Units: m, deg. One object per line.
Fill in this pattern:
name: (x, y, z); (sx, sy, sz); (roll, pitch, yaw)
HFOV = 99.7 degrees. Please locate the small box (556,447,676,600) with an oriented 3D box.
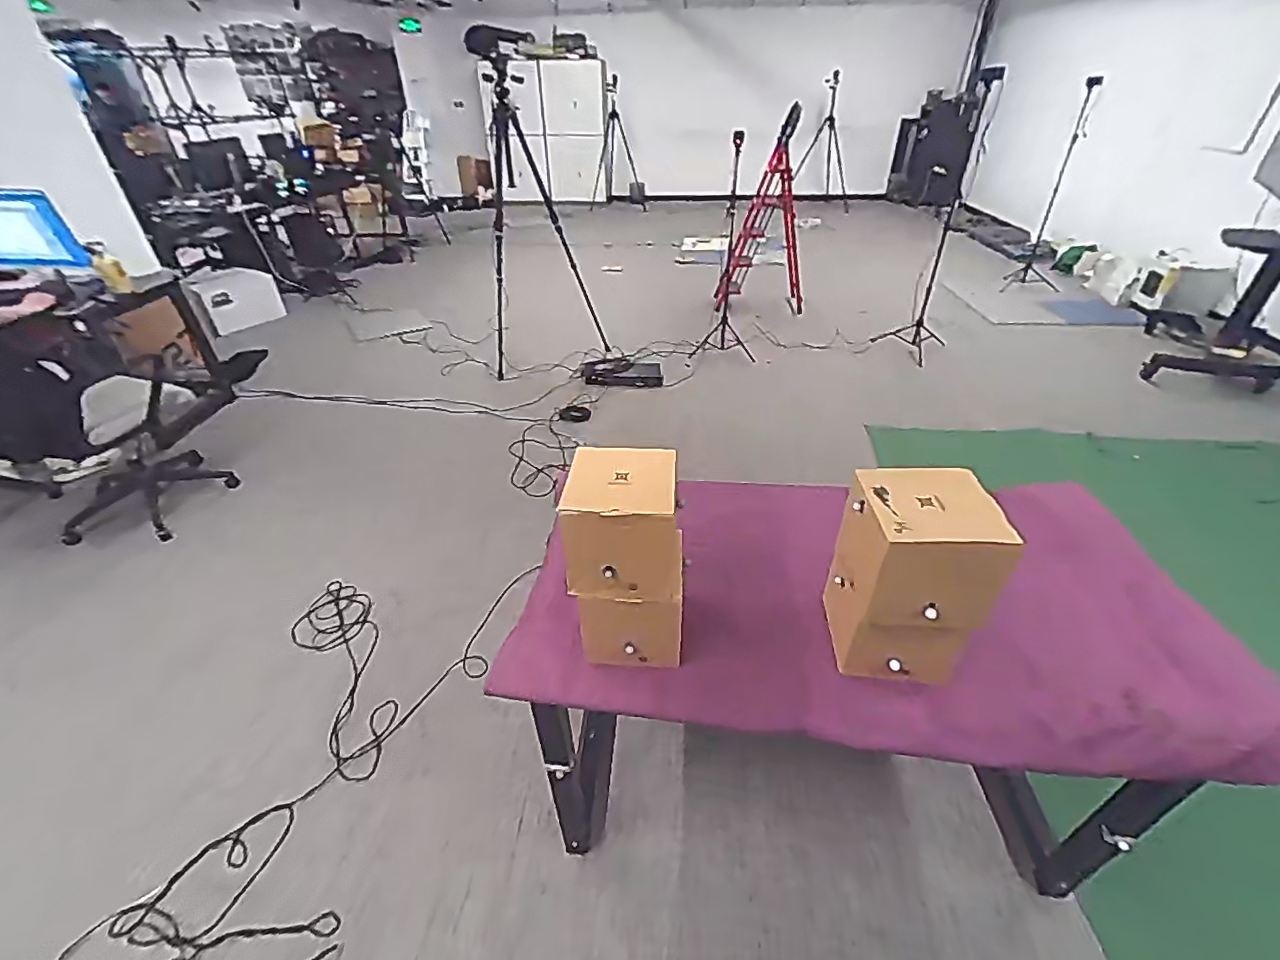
small box: (-0.031, 0.065, 0.855); (0.168, 0.176, 0.179); (2, 34, 3)

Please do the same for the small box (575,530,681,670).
small box: (-0.014, 0.202, 0.941); (0.168, 0.176, 0.179); (1, 35, 4)

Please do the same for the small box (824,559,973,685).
small box: (0.420, 0.216, 0.916); (0.168, 0.176, 0.179); (3, 36, 6)

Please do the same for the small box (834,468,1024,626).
small box: (0.407, 0.099, 0.799); (0.179, 0.176, 0.168); (1, 36, 3)
